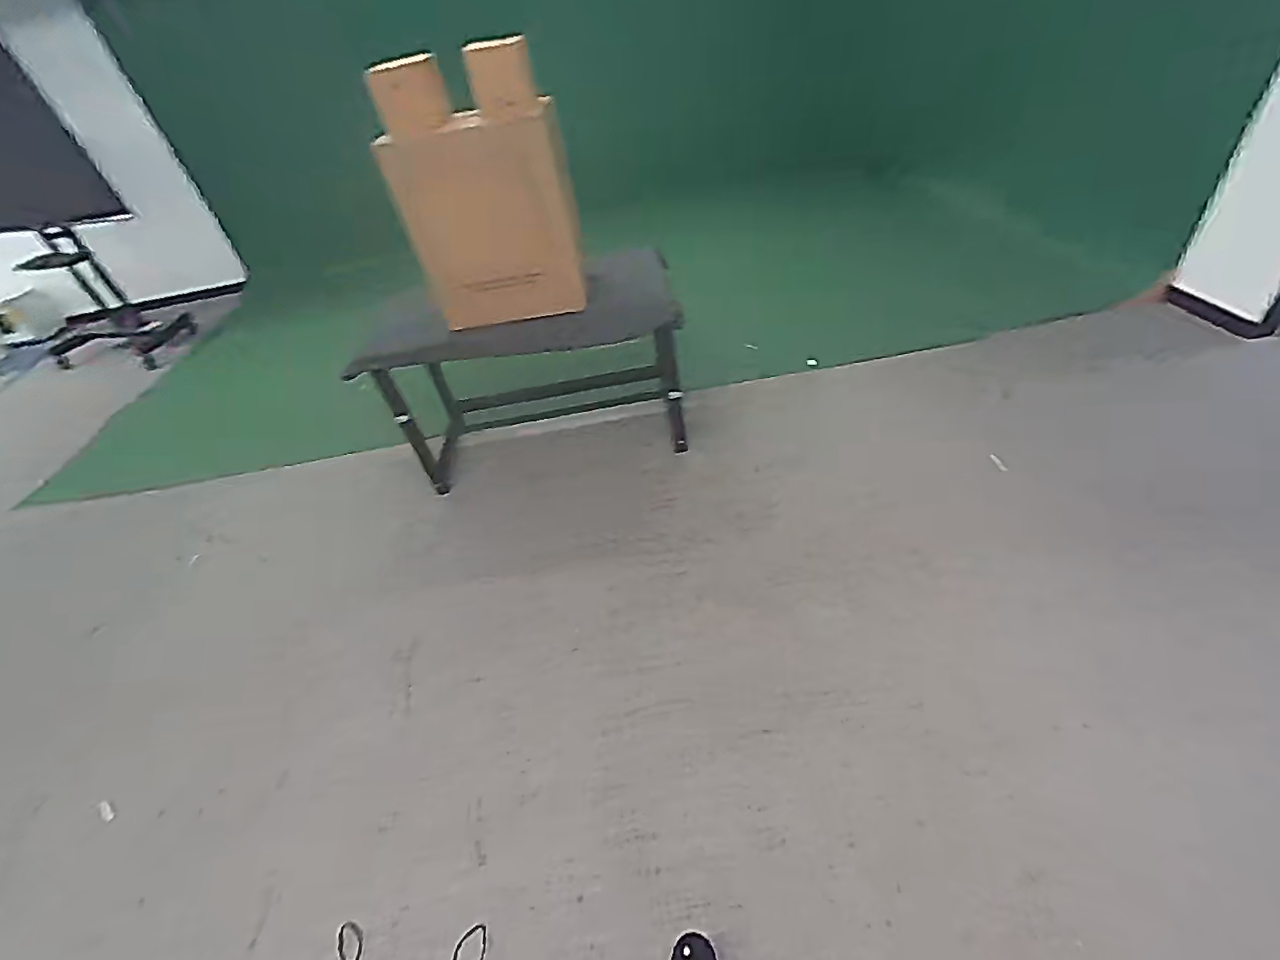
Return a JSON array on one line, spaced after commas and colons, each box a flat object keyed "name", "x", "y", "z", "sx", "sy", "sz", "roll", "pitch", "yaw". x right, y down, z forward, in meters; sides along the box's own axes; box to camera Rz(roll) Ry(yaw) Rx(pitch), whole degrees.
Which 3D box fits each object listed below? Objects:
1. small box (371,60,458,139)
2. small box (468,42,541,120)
[{"name": "small box", "x": -0.695, "y": -1.184, "z": 1.687, "sx": 0.179, "sy": 0.176, "sz": 0.168, "roll": -6, "pitch": 45, "yaw": 4}, {"name": "small box", "x": -0.411, "y": -1.233, "z": 1.674, "sx": 0.168, "sy": 0.176, "sz": 0.179, "roll": -6, "pitch": 44, "yaw": 4}]
